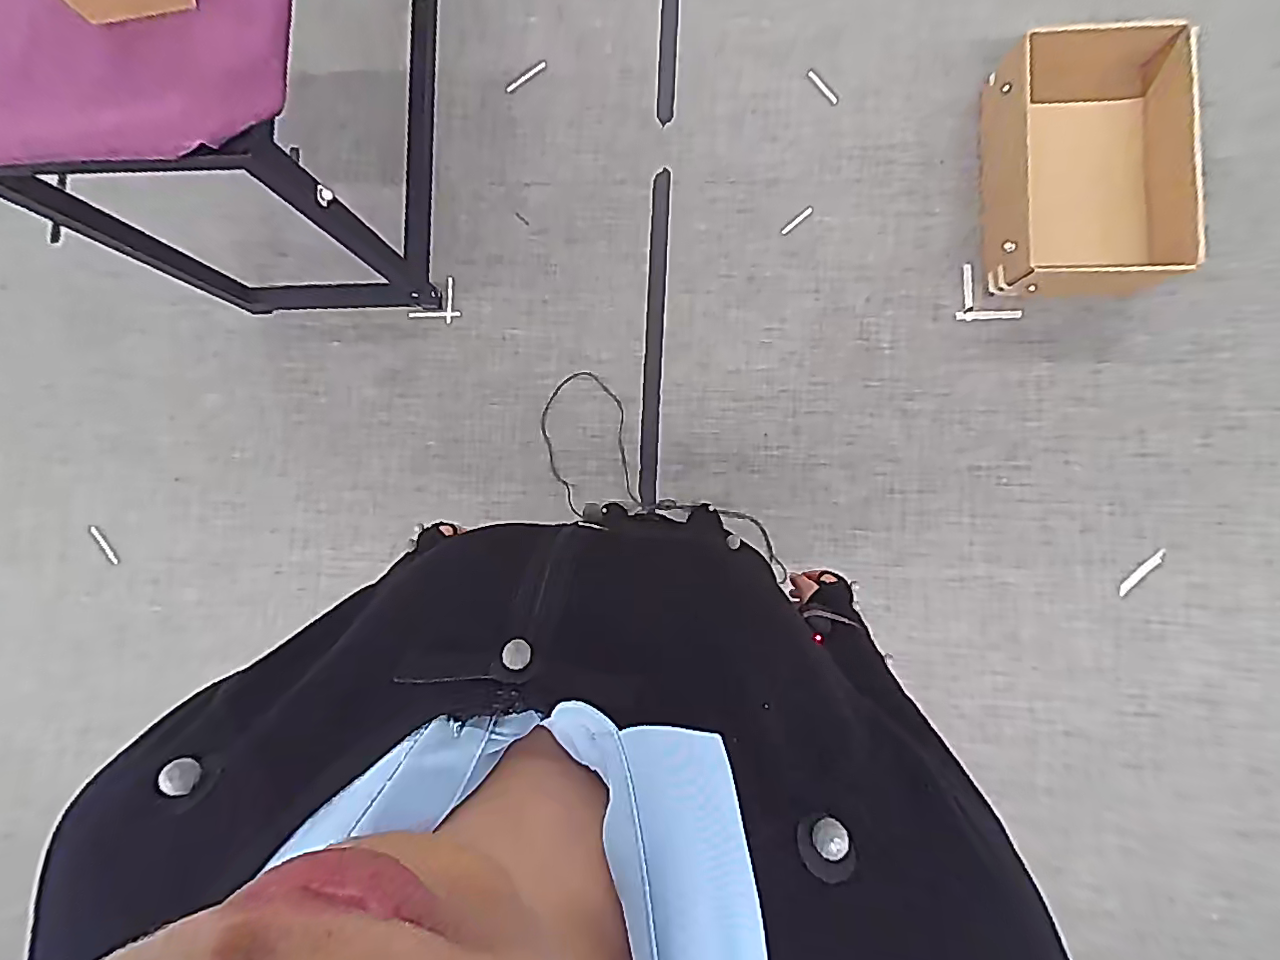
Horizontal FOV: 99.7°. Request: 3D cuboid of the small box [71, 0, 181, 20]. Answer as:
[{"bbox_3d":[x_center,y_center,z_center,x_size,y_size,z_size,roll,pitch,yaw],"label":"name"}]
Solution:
[{"bbox_3d":[-0.802,-0.827,0.787,0.179,0.176,0.168,-7,86,3],"label":"small box"}]
